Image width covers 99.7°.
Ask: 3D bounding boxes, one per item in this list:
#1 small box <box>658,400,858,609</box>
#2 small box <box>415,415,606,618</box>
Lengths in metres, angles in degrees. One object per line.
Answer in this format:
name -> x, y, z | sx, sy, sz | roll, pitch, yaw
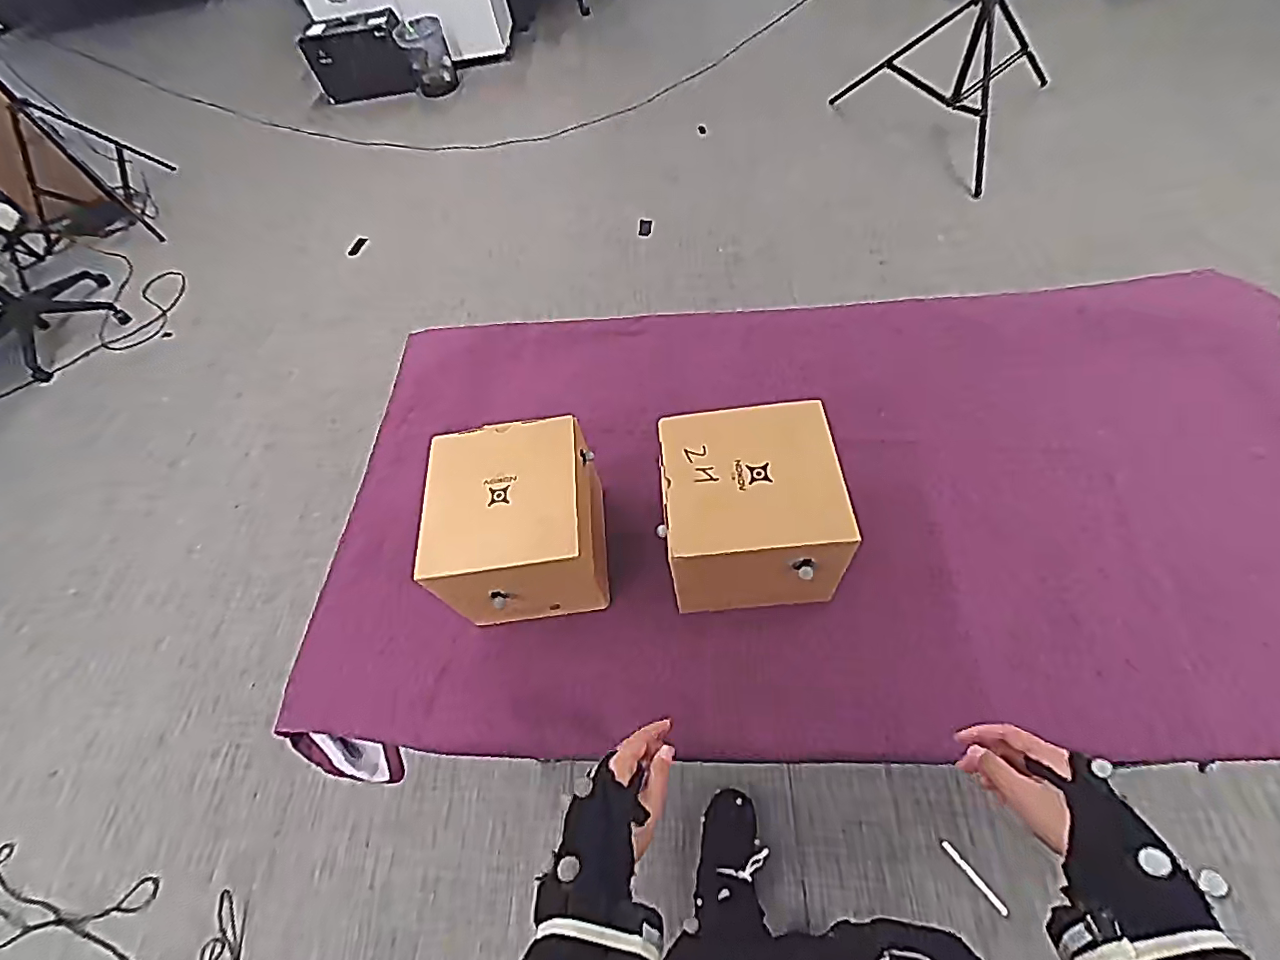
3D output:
small box -> 0.117, 0.035, 0.602 | 0.179, 0.176, 0.168 | -6, 57, 4
small box -> -0.137, 0.053, 0.633 | 0.168, 0.176, 0.179 | -9, 58, 3
